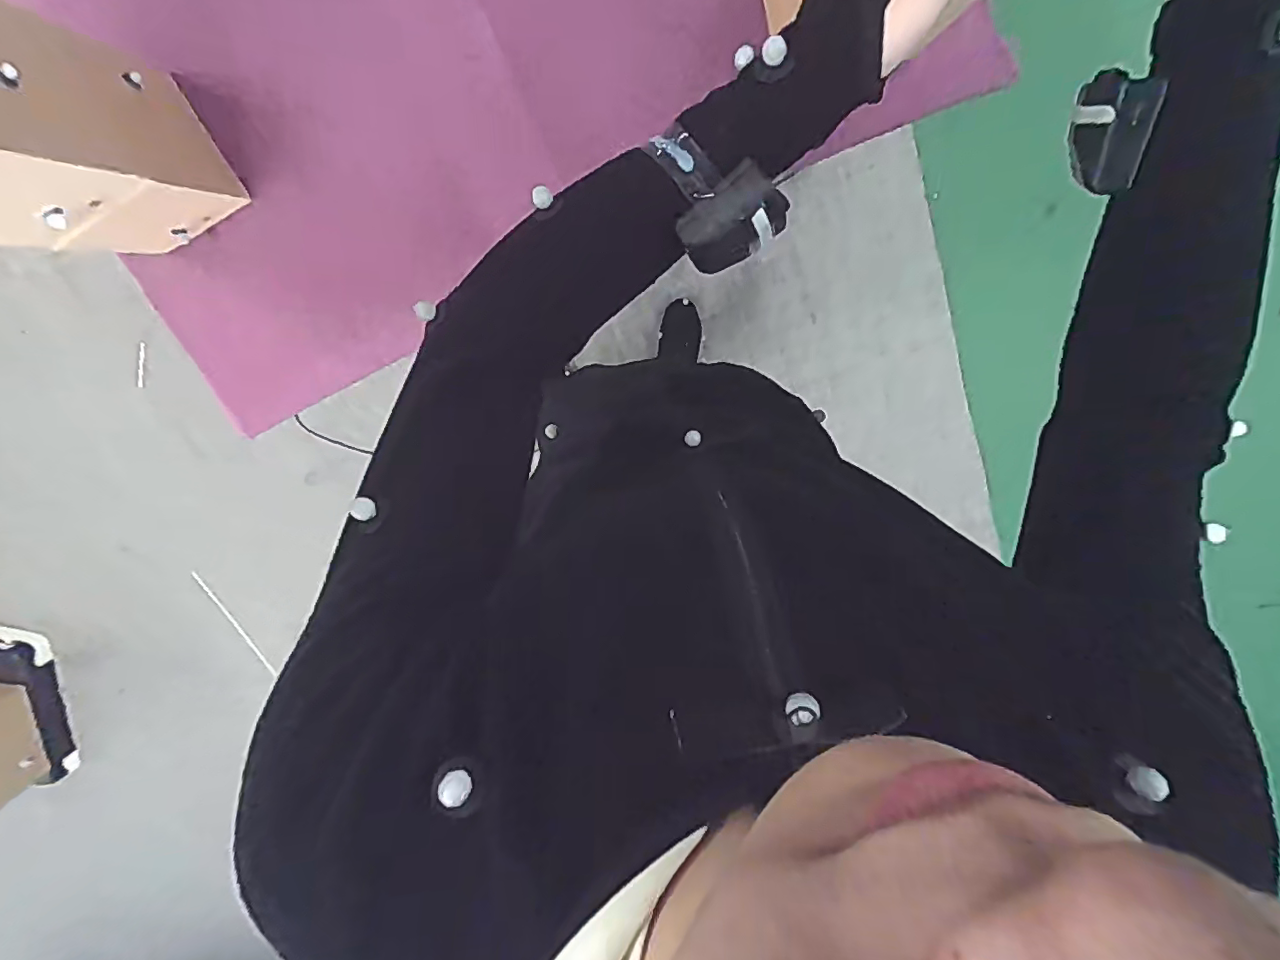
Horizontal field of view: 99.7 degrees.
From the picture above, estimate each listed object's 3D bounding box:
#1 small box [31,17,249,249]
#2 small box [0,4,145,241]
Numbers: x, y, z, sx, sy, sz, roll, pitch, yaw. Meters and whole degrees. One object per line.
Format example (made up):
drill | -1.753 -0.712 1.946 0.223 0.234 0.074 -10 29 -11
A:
small box | -0.661 -0.412 0.681 0.168 0.176 0.179 -23 108 11
small box | -0.667 -0.356 0.528 0.168 0.176 0.179 -23 108 11
